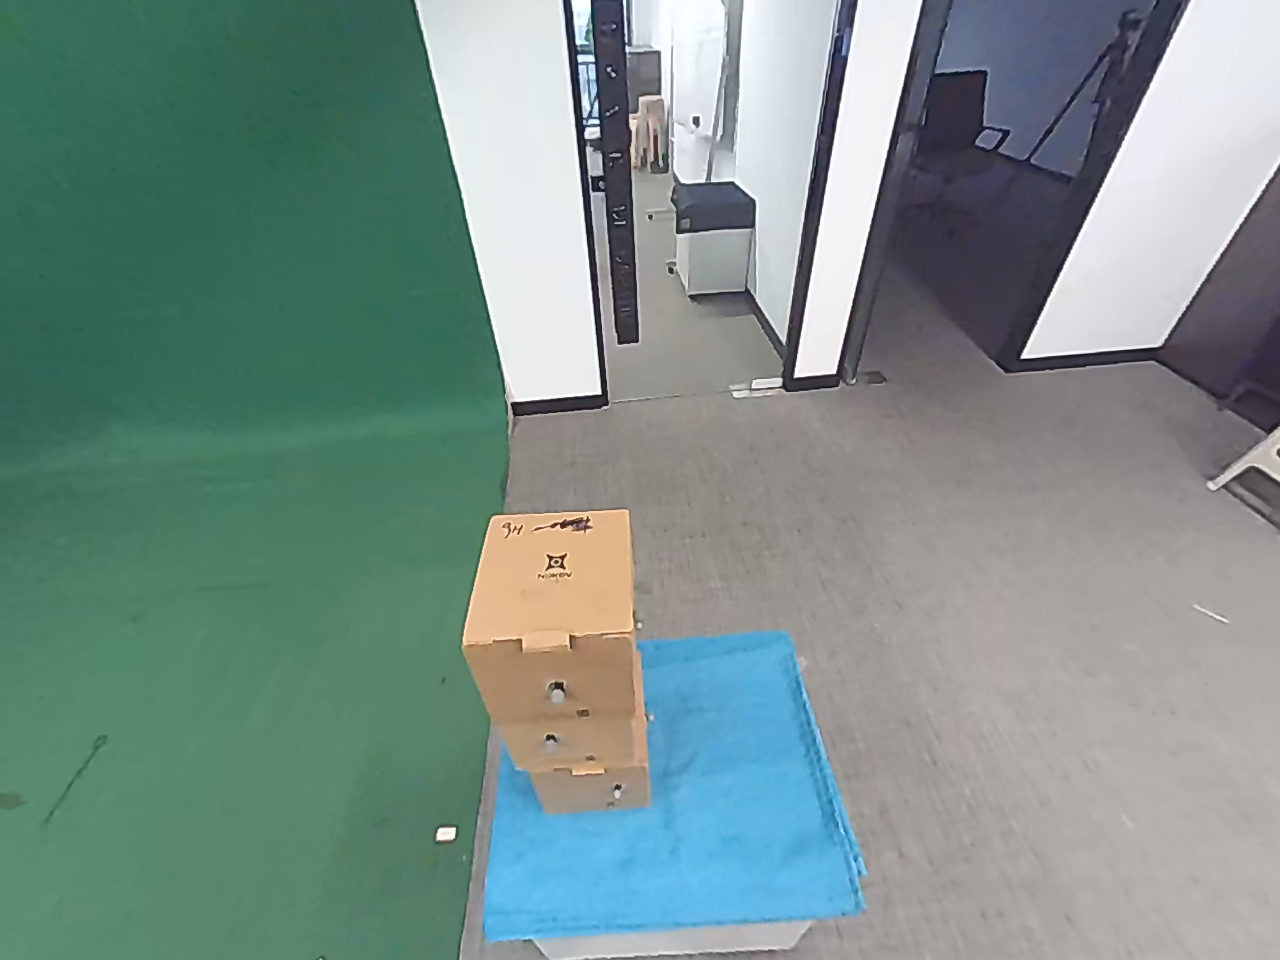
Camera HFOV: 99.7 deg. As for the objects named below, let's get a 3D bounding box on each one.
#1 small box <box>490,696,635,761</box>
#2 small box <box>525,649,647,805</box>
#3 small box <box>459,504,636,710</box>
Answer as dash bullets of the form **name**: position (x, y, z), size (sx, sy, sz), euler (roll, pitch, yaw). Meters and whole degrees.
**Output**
- **small box**: position (-0.092, 0.266, 0.739), size (0.168, 0.176, 0.179), euler (-2, 40, 0)
- **small box**: position (-0.075, 0.388, 0.845), size (0.168, 0.176, 0.179), euler (-2, 40, -1)
- **small box**: position (-0.090, 0.149, 0.624), size (0.168, 0.176, 0.179), euler (-2, 41, 0)
